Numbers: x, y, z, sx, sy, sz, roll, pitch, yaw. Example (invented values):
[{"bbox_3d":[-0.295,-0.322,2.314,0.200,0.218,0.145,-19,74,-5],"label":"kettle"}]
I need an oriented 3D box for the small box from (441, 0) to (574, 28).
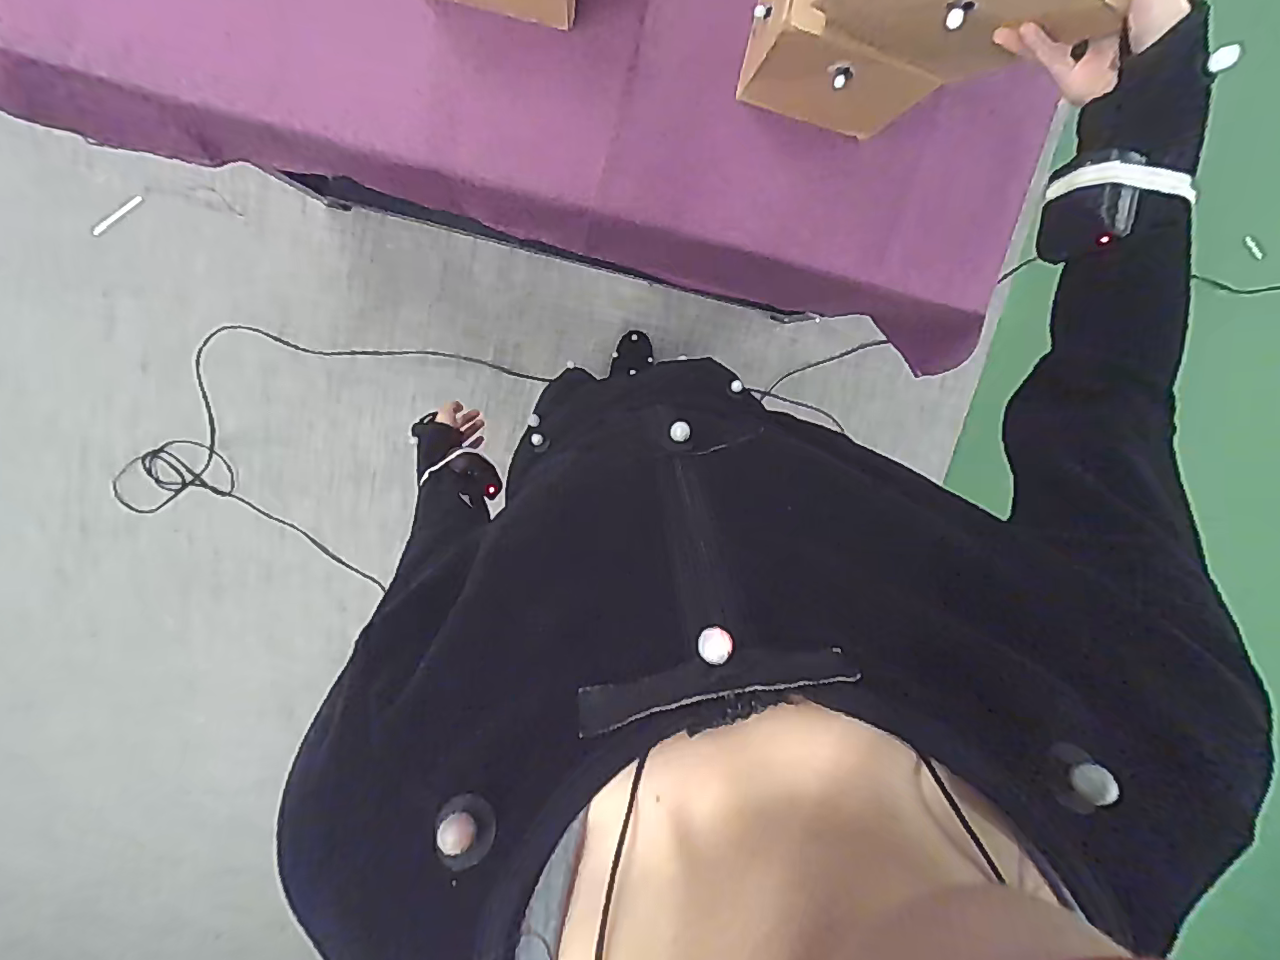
[{"bbox_3d":[-0.147,-0.588,0.522,0.179,0.176,0.168,7,102,-8],"label":"small box"}]

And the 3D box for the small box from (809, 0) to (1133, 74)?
[{"bbox_3d":[0.264,-0.440,0.403,0.179,0.176,0.168,7,109,-22],"label":"small box"}]

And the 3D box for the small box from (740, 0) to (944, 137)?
[{"bbox_3d":[0.224,-0.502,0.579,0.179,0.176,0.168,12,103,-9],"label":"small box"}]
